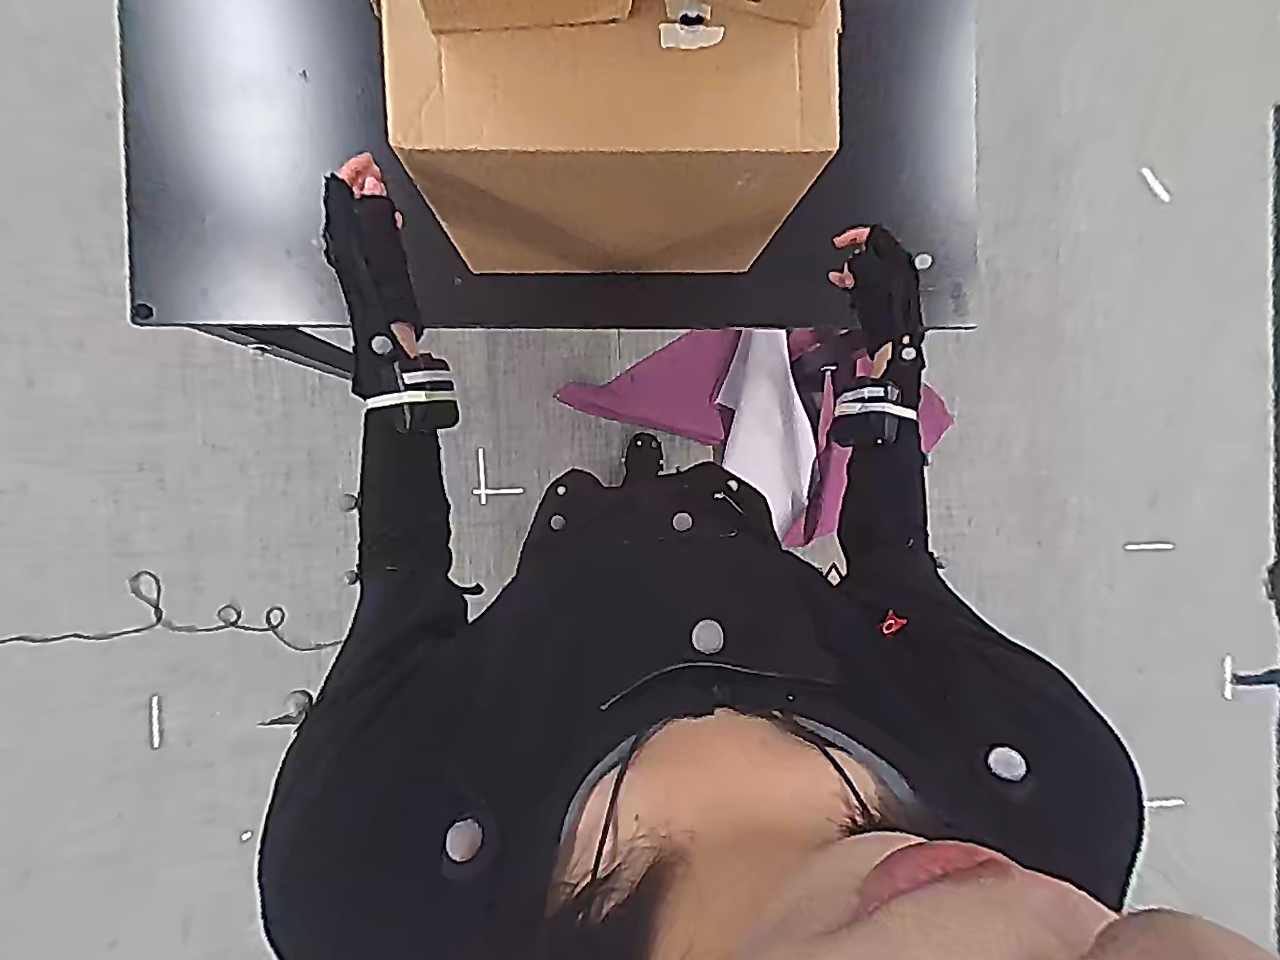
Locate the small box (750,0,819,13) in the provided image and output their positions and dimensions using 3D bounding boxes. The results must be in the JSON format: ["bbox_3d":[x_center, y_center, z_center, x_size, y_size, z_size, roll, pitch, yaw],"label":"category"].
[{"bbox_3d":[0.095,-0.505,0.397,0.168,0.176,0.179,9,89,-4],"label":"small box"}]

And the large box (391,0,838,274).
[{"bbox_3d":[-0.036,-0.453,0.631,0.408,0.320,0.320,-3,92,-6],"label":"large box"}]
